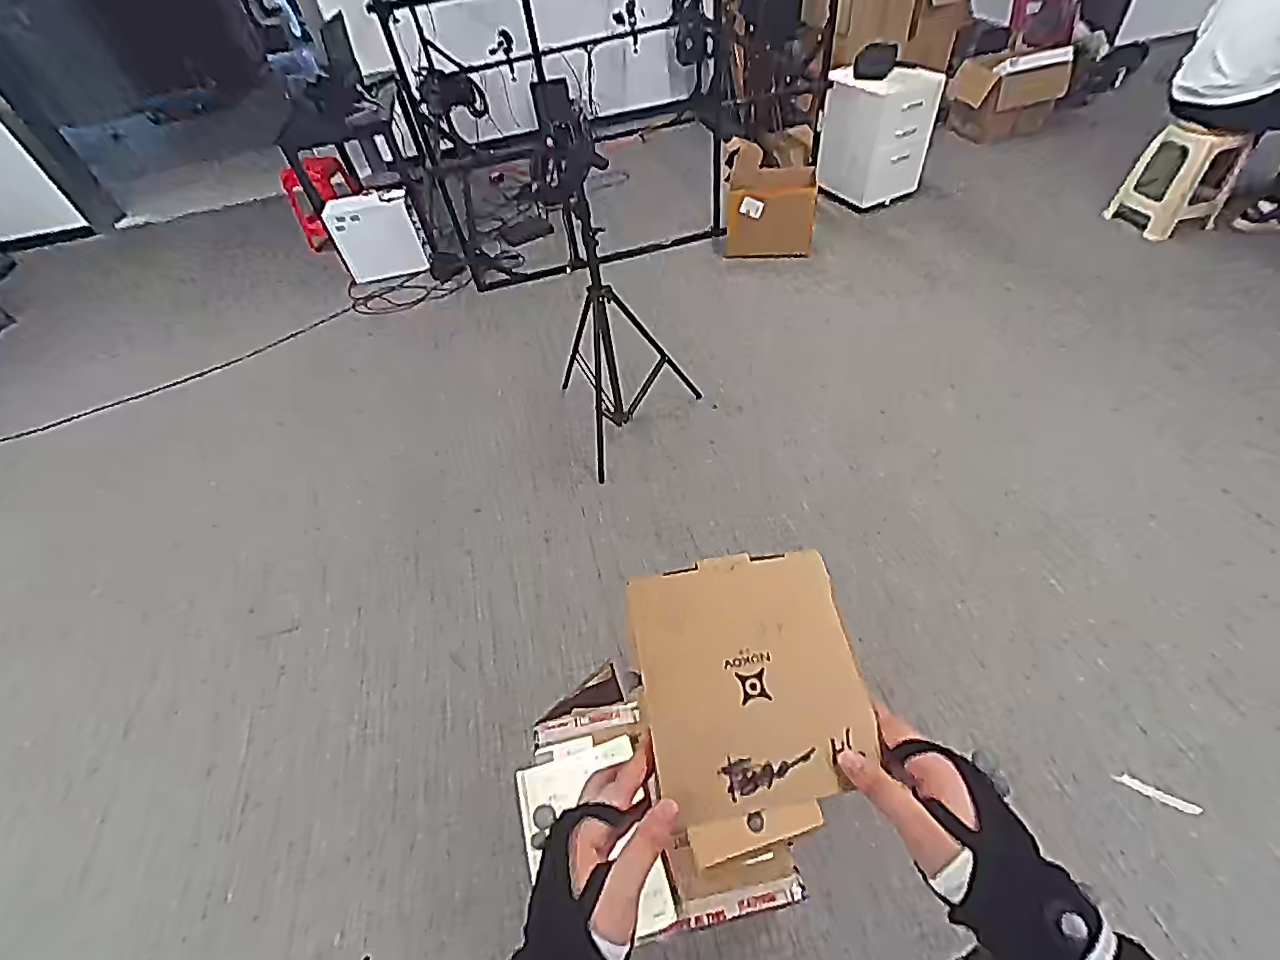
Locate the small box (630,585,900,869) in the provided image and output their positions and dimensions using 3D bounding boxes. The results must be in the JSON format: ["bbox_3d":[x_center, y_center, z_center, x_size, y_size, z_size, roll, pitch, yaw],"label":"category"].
[{"bbox_3d":[0.084,0.208,0.473,0.168,0.176,0.179,-8,65,-6],"label":"small box"}]

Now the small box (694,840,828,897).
[{"bbox_3d":[0.150,0.495,0.809,0.179,0.176,0.168,-16,50,-7],"label":"small box"}]
